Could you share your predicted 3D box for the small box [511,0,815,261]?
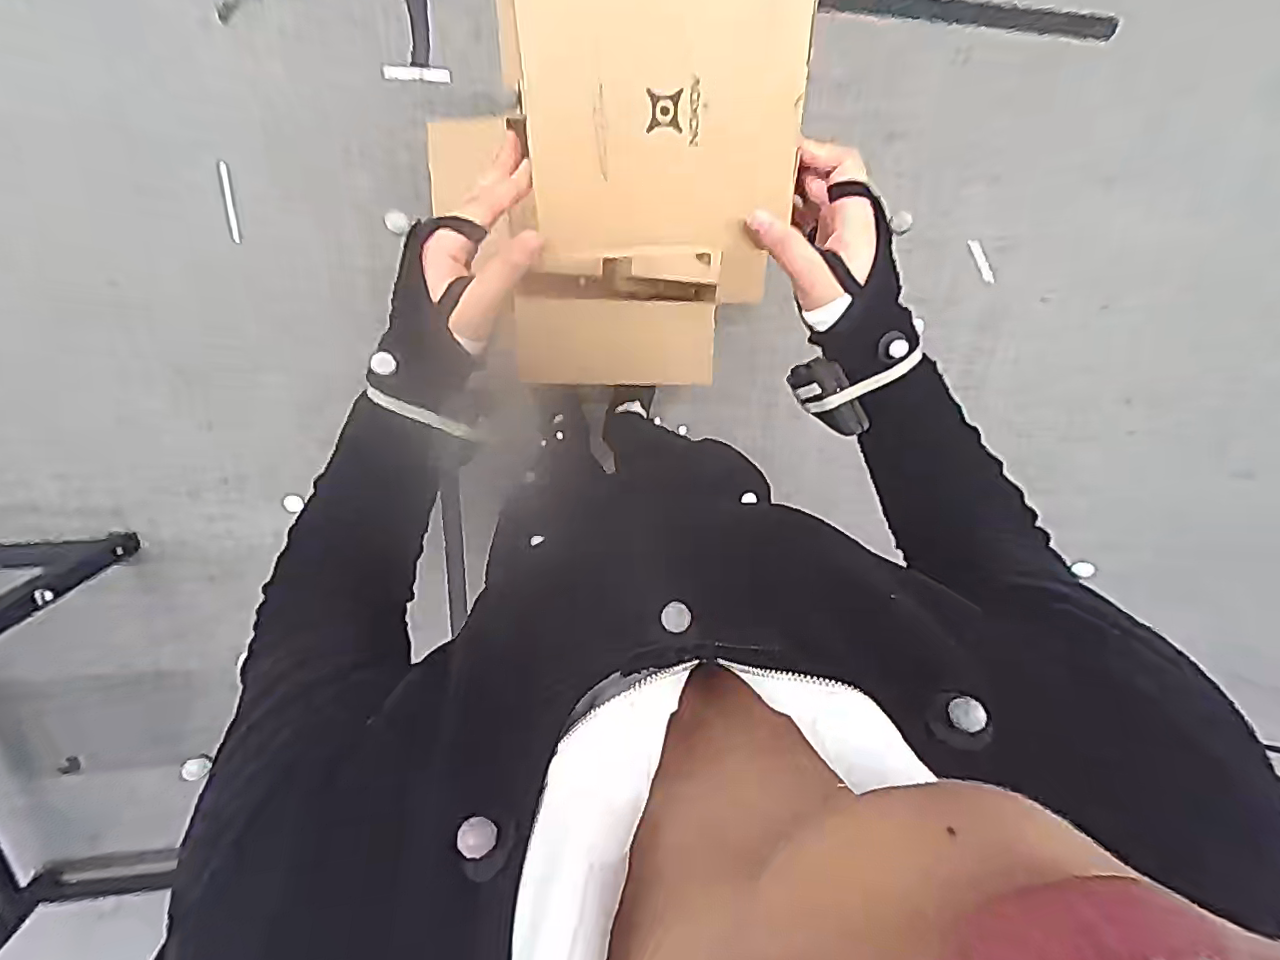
[{"bbox_3d":[0.003,-0.264,0.395,0.179,0.176,0.168,-6,122,-8],"label":"small box"}]
